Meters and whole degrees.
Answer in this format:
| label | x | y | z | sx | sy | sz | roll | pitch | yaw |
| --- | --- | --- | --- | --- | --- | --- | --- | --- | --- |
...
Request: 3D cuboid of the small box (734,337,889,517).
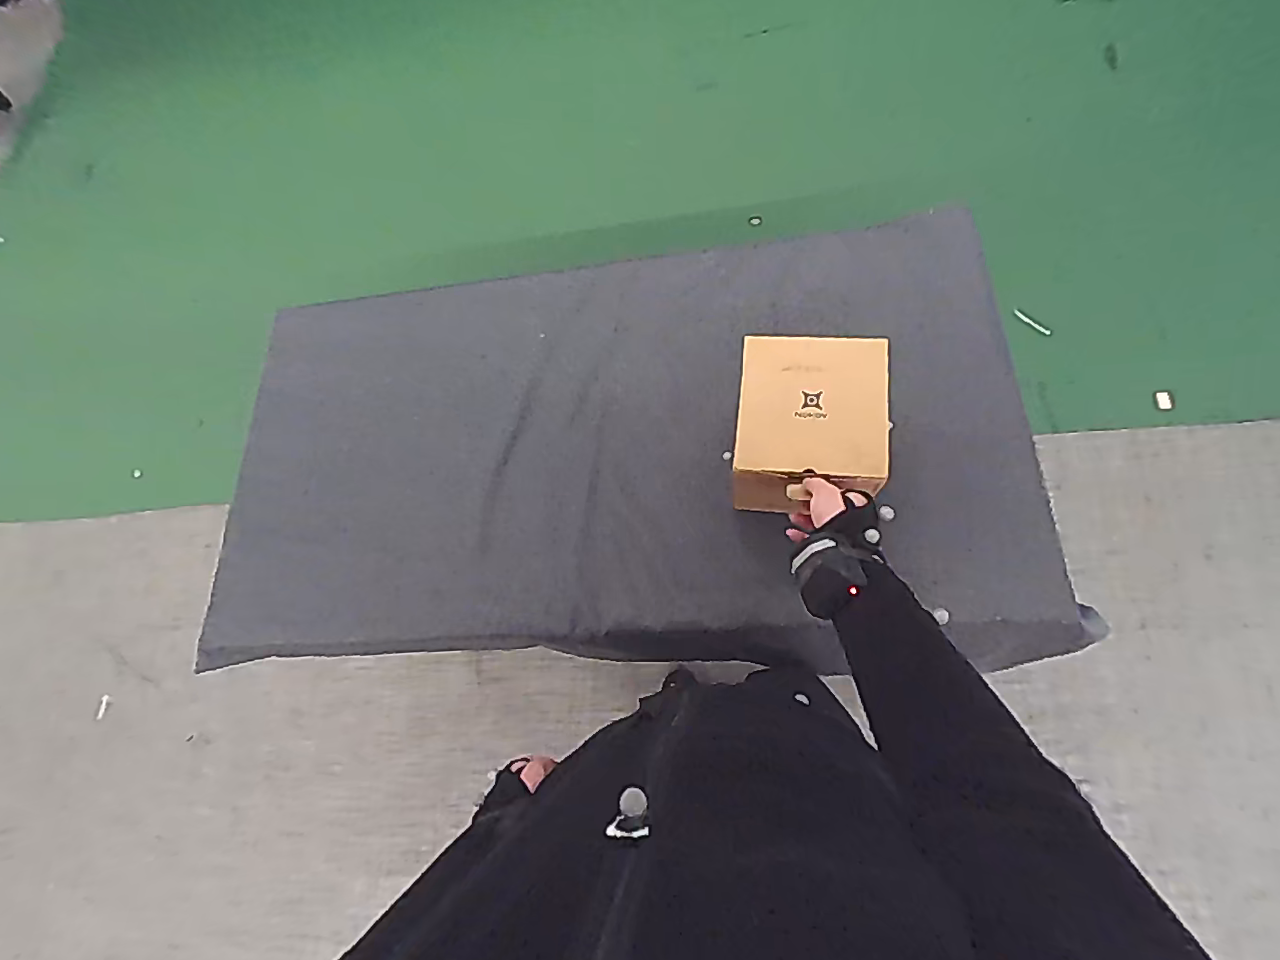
| label | x | y | z | sx | sy | sz | roll | pitch | yaw |
| --- | --- | --- | --- | --- | --- | --- | --- | --- | --- |
| small box | 0.210 | -0.060 | 0.693 | 0.168 | 0.176 | 0.179 | 5 | 70 | 10 |
